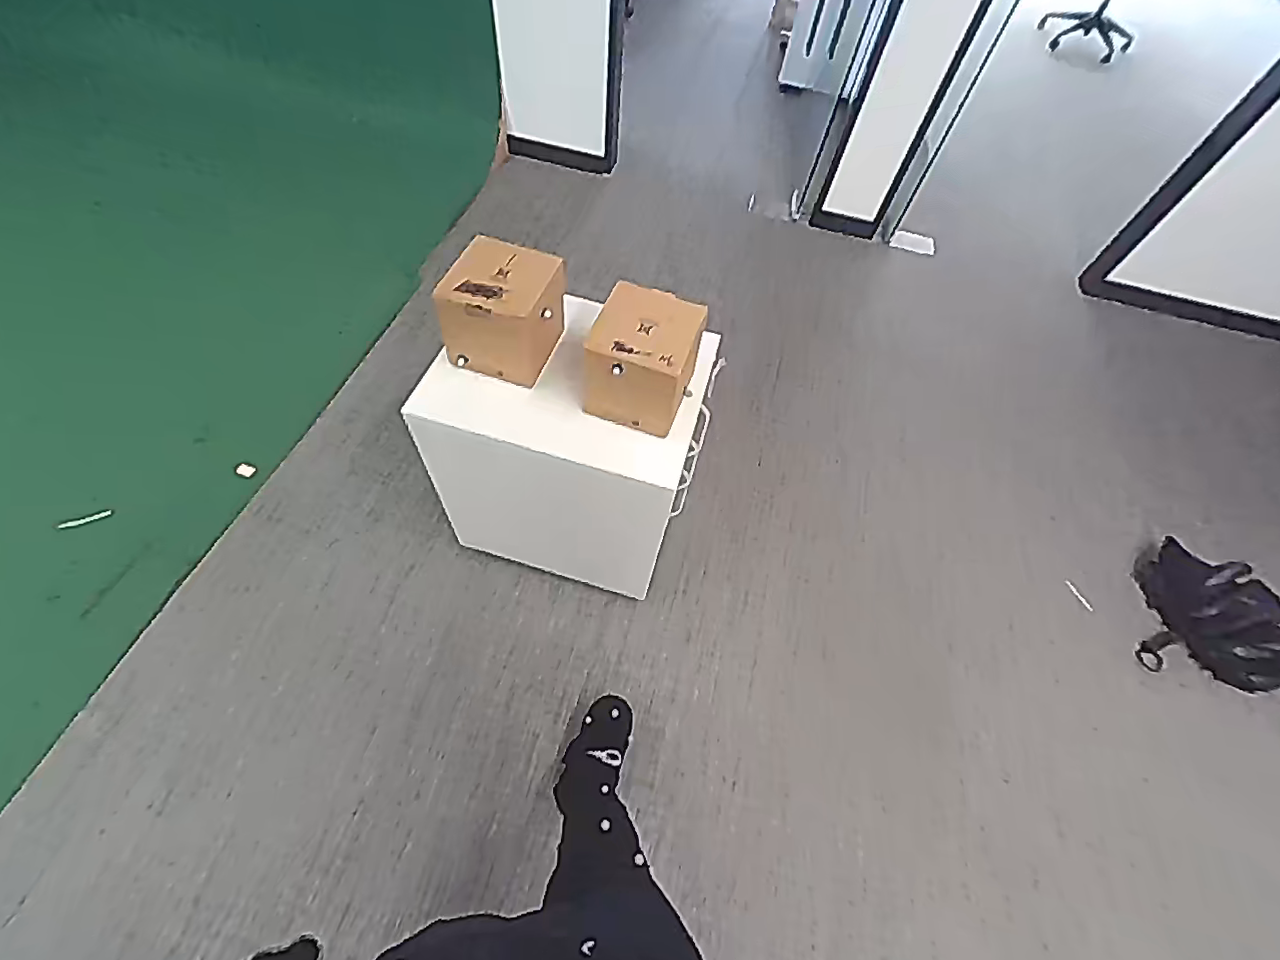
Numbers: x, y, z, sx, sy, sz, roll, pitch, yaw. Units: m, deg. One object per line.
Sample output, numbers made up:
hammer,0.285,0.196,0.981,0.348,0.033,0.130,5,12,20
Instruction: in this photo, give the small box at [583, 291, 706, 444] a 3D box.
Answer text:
small box,0.003,-0.197,0.963,0.168,0.176,0.179,19,57,7

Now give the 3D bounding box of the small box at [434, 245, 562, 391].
small box,-0.247,-0.292,0.996,0.168,0.176,0.179,17,57,4
